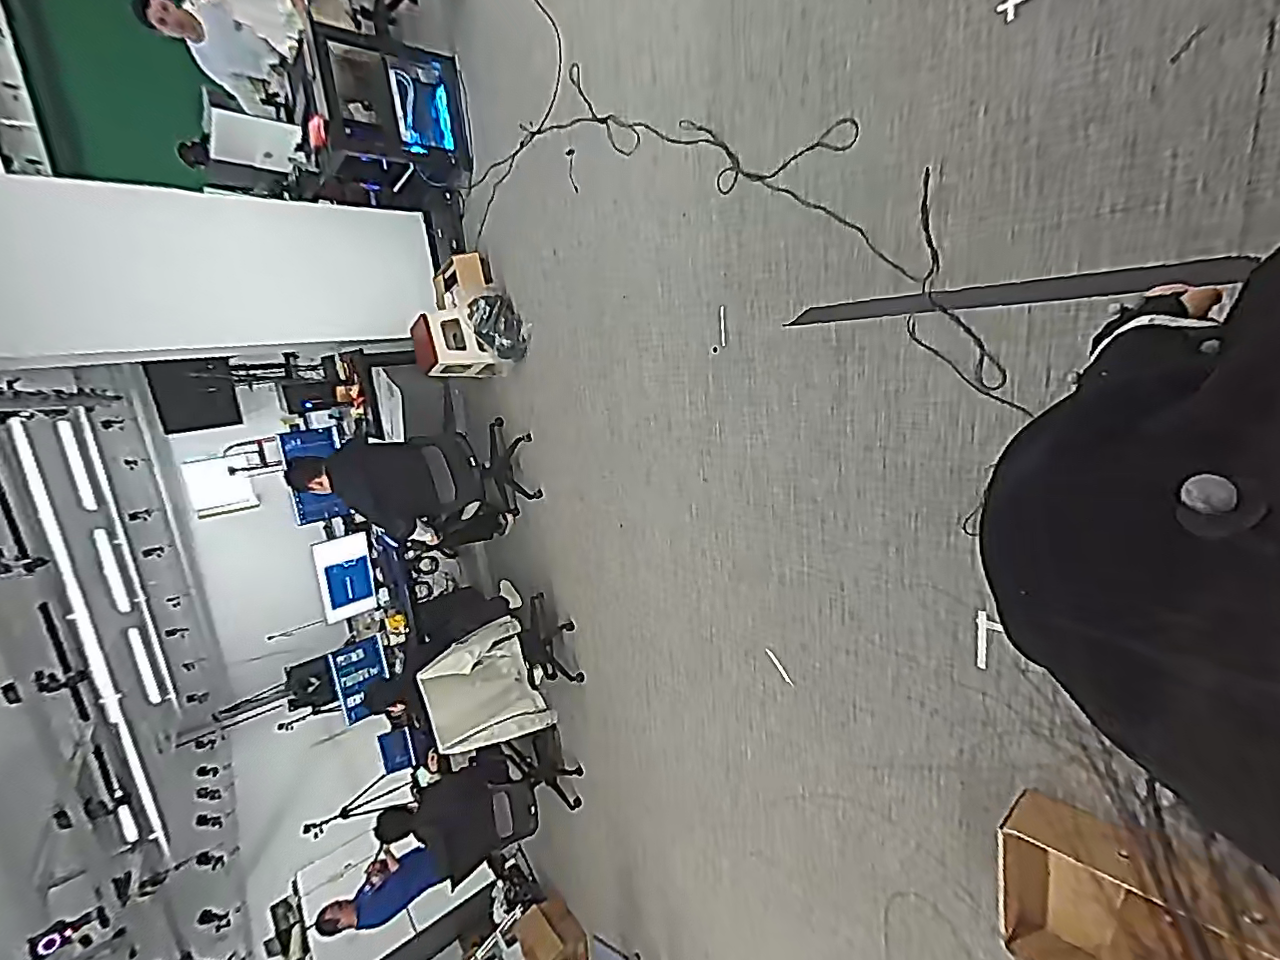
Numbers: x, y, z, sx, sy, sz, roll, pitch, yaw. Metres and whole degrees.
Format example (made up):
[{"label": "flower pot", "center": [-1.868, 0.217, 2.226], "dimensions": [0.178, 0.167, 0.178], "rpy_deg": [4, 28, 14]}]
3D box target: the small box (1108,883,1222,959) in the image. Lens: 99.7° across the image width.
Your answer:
[{"label": "small box", "center": [1.176, 1.073, 1.210], "dimensions": [0.168, 0.176, 0.179], "rpy_deg": [2, 104, 51]}]
